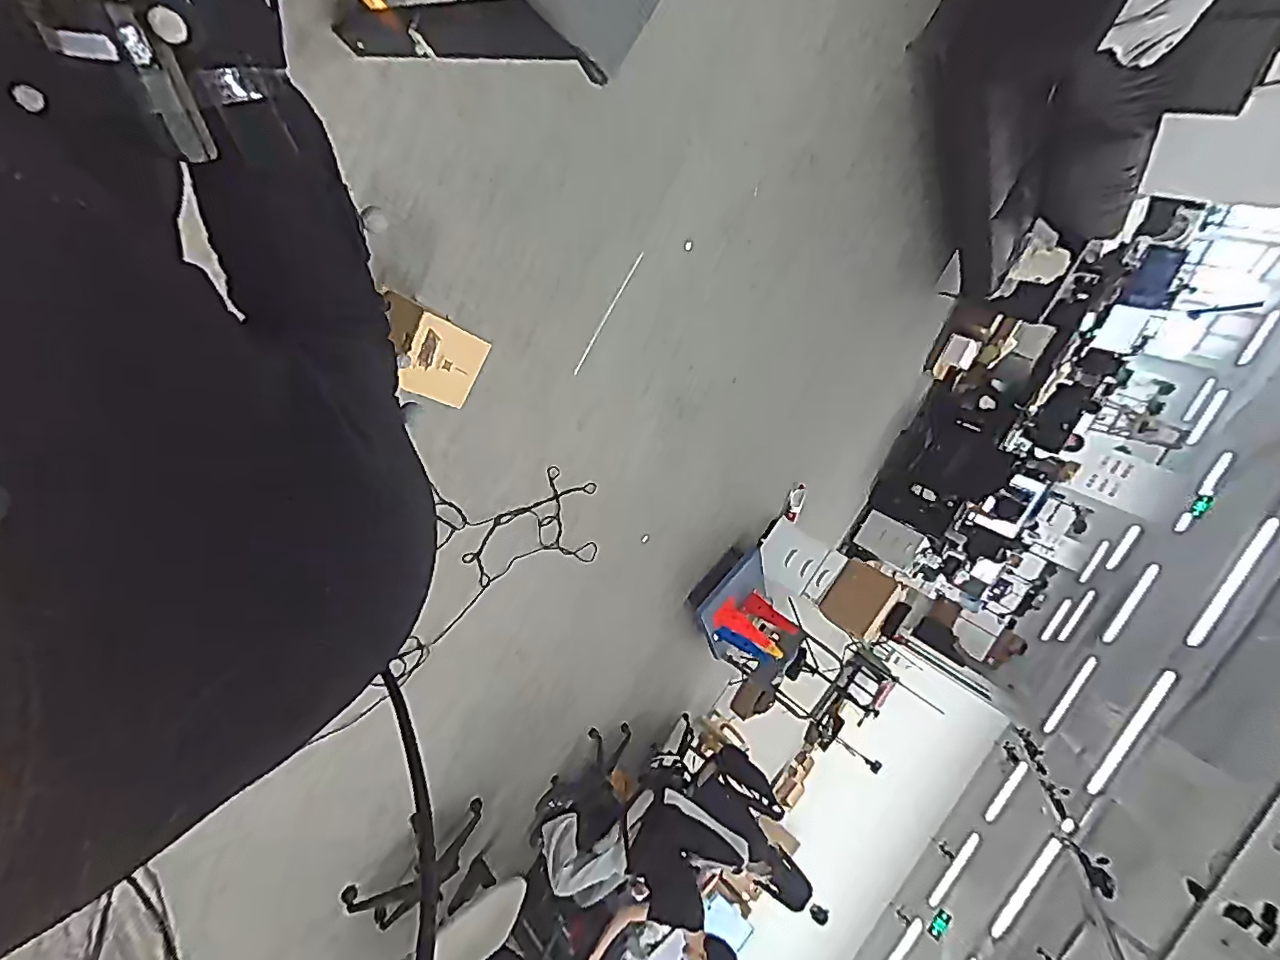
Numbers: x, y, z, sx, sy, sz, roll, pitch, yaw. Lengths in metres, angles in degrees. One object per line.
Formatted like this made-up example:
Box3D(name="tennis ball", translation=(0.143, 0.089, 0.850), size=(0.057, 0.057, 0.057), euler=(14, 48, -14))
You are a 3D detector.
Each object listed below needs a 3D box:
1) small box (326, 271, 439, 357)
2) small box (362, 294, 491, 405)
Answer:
Box3D(name="small box", translation=(-0.593, -0.365, 1.265), size=(0.179, 0.176, 0.168), euler=(17, 102, -55))
Box3D(name="small box", translation=(-0.471, -0.289, 1.184), size=(0.179, 0.176, 0.168), euler=(18, 102, -57))
